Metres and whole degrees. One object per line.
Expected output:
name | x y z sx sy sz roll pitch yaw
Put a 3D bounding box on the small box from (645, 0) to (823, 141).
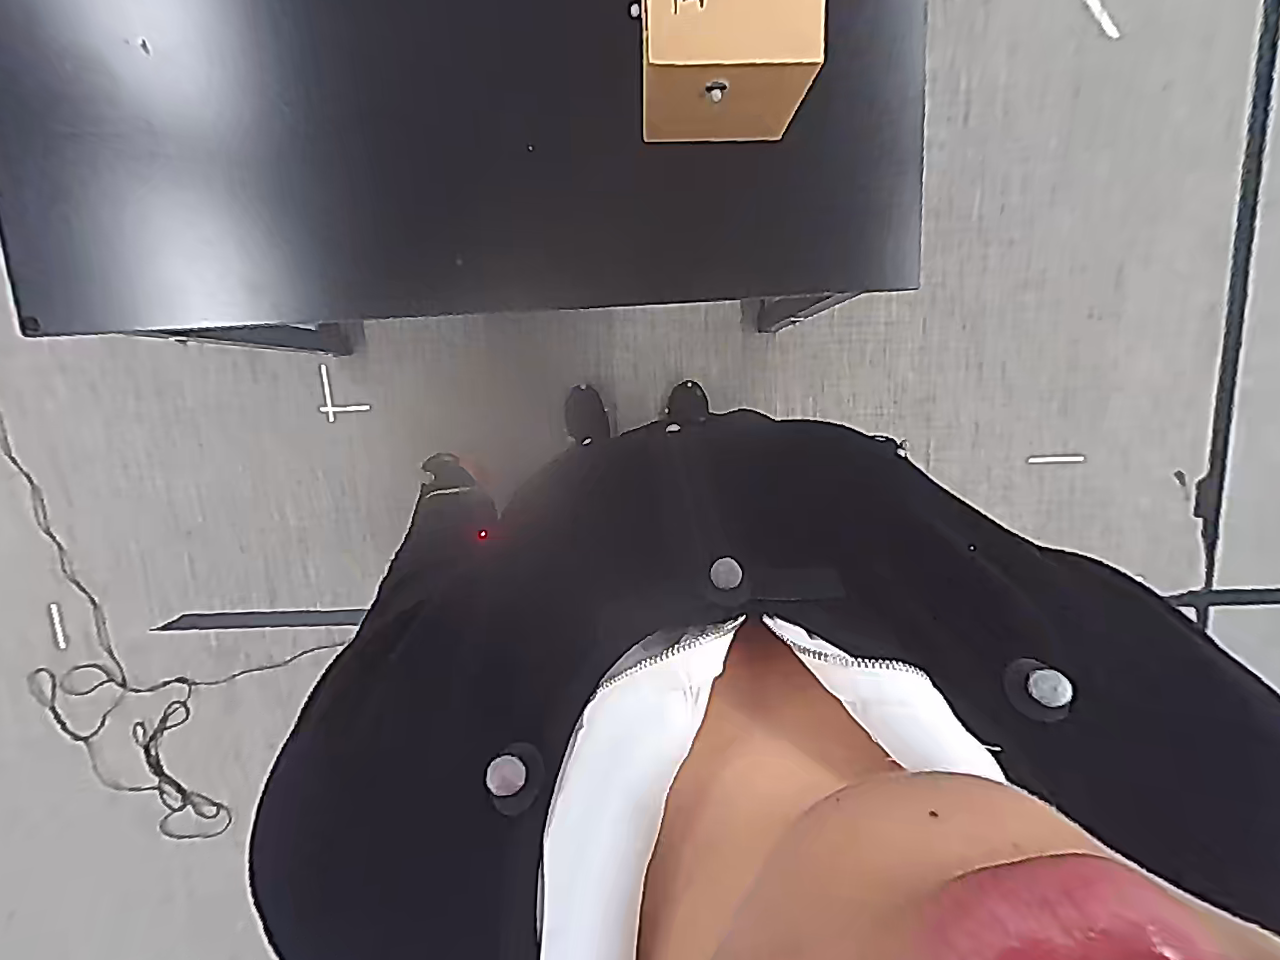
small box | 0.094 -0.505 0.607 0.179 0.176 0.168 -1 99 0
